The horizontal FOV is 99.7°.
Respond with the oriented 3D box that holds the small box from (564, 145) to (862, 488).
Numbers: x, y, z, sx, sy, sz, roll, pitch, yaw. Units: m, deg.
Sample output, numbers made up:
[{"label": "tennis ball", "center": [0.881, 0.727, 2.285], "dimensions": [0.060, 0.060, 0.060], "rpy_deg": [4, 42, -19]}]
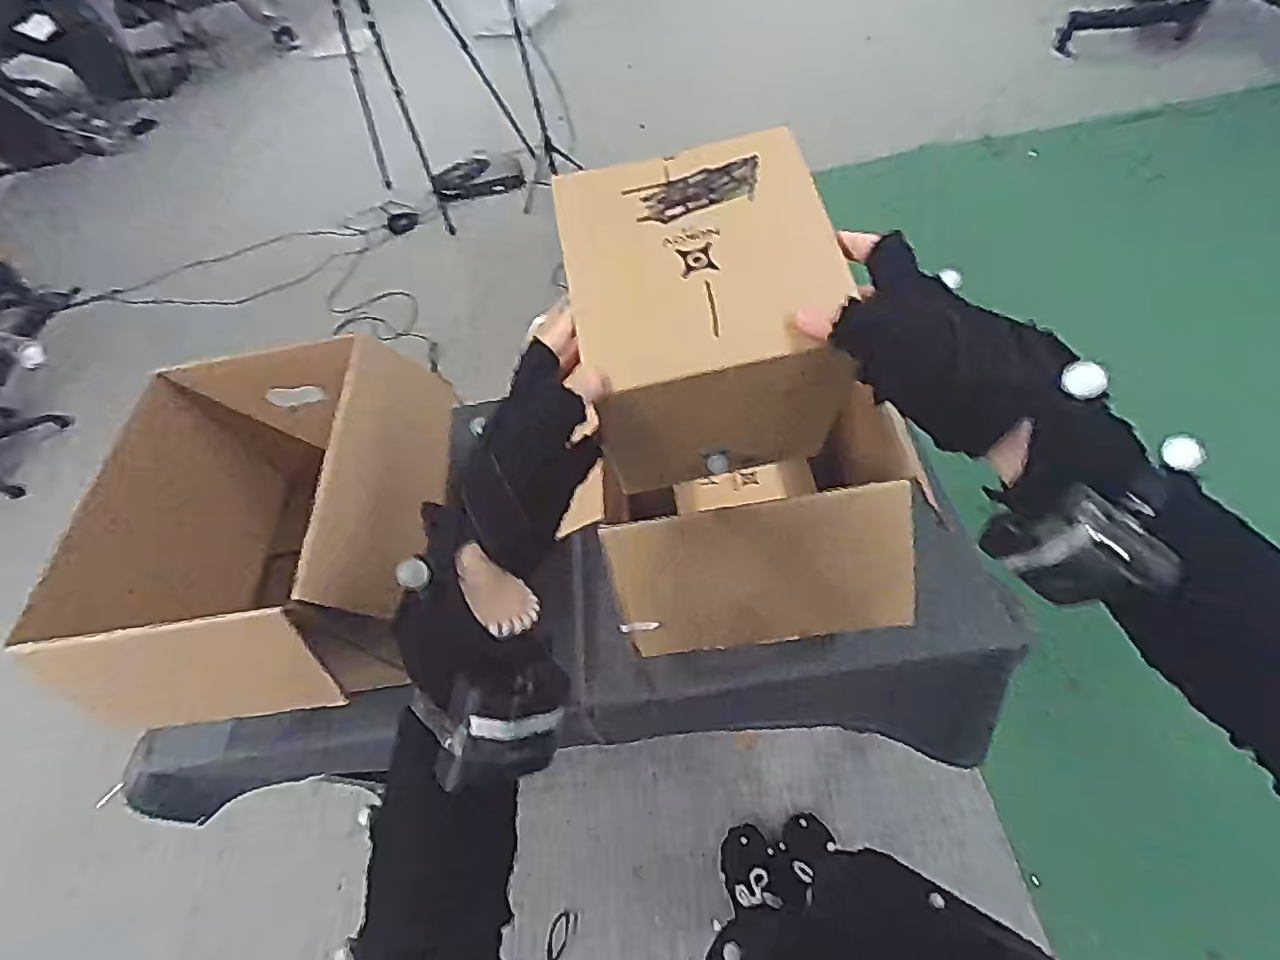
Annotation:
[{"label": "small box", "center": [0.044, -0.113, 0.421], "dimensions": [0.168, 0.176, 0.179], "rpy_deg": [-11, 68, 2]}]
